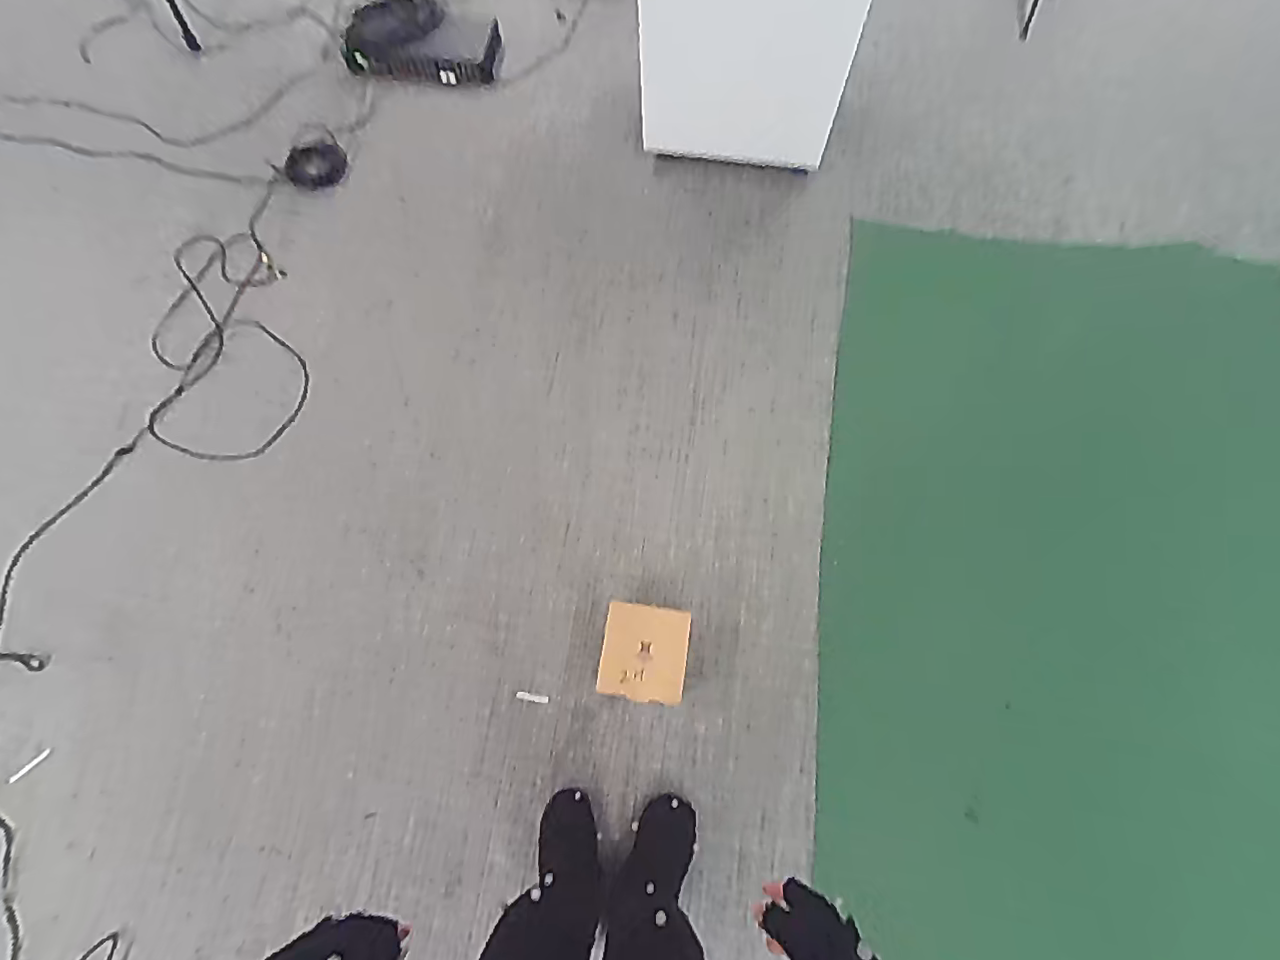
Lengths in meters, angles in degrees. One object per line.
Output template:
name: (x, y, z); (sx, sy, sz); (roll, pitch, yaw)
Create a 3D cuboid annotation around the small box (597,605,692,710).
small box: (0.013, 0.370, 1.134); (0.168, 0.176, 0.179); (8, 73, 5)
